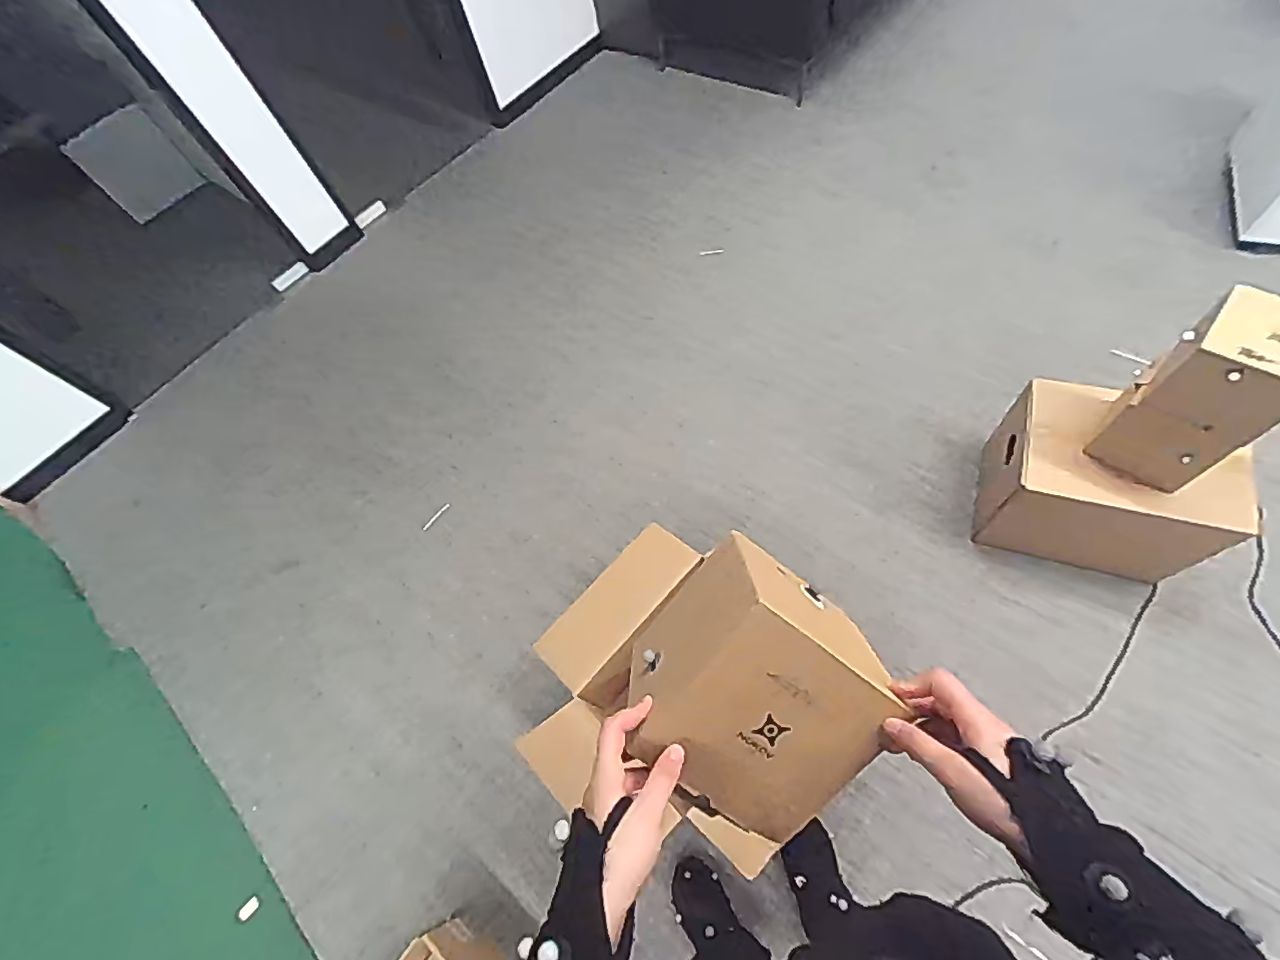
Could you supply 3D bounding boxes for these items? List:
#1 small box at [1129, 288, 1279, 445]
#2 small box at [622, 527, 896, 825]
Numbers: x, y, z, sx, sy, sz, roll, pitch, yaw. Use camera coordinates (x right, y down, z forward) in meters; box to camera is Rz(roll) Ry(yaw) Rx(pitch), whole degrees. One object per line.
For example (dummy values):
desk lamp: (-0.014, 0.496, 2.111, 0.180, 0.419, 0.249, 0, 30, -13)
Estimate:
small box: (1.034, -0.198, 0.962, 0.168, 0.176, 0.179, 35, 71, 26)
small box: (0.102, 0.176, 0.533, 0.168, 0.176, 0.179, 36, 101, -7)
